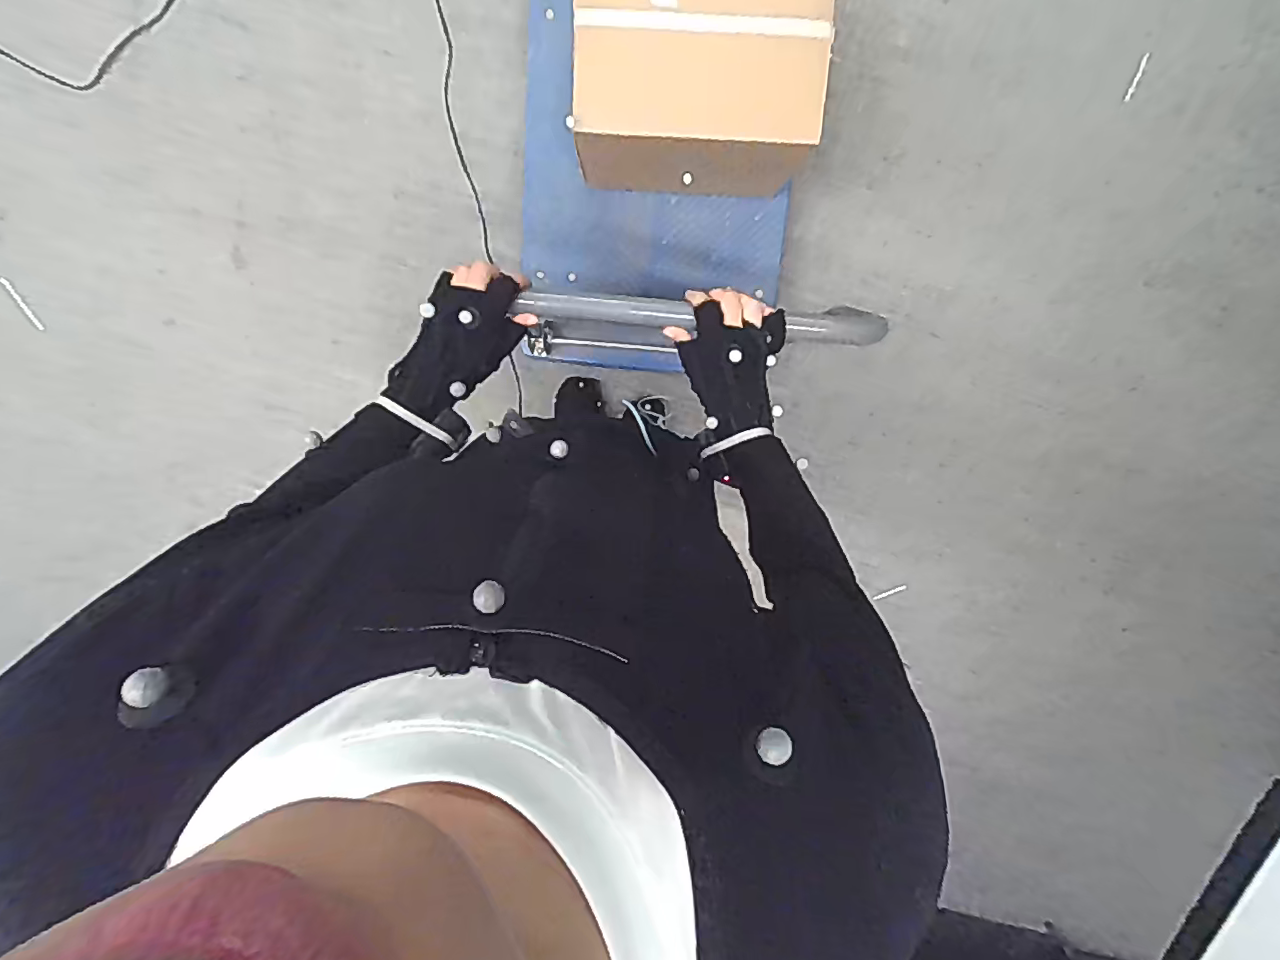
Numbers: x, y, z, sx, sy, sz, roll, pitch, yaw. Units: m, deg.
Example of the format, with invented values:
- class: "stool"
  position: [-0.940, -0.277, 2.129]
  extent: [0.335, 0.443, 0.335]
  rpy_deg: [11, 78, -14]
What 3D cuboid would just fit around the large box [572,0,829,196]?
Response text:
- class: "large box"
  position: [0.095, -0.731, 0.991]
  extent: [0.408, 0.320, 0.320]
  rpy_deg: [3, 102, -1]
